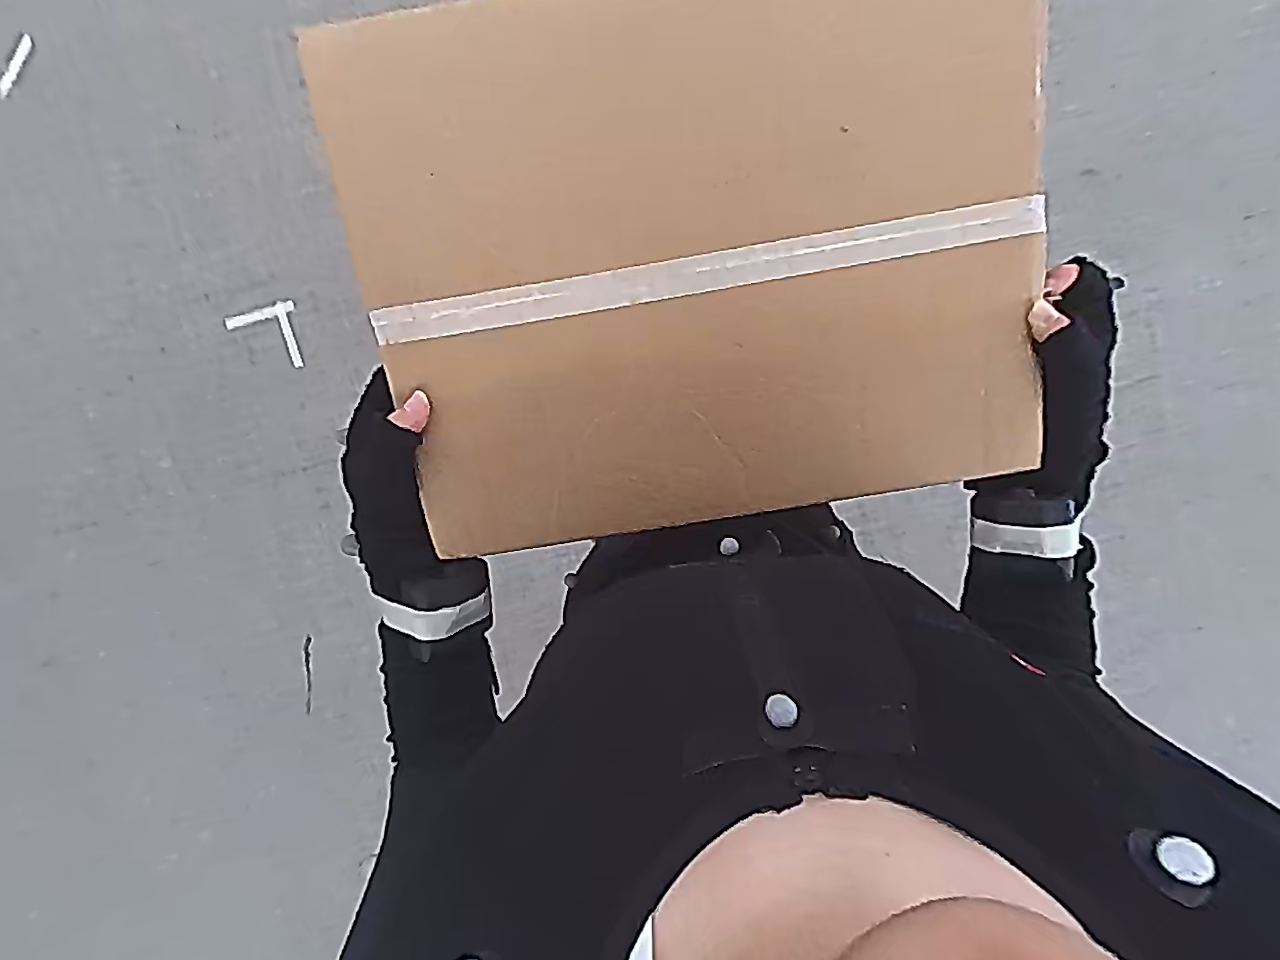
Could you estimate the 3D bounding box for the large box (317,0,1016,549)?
[{"bbox_3d":[0.033,-0.166,0.482,0.408,0.320,0.320,-9,103,2],"label":"large box"}]
